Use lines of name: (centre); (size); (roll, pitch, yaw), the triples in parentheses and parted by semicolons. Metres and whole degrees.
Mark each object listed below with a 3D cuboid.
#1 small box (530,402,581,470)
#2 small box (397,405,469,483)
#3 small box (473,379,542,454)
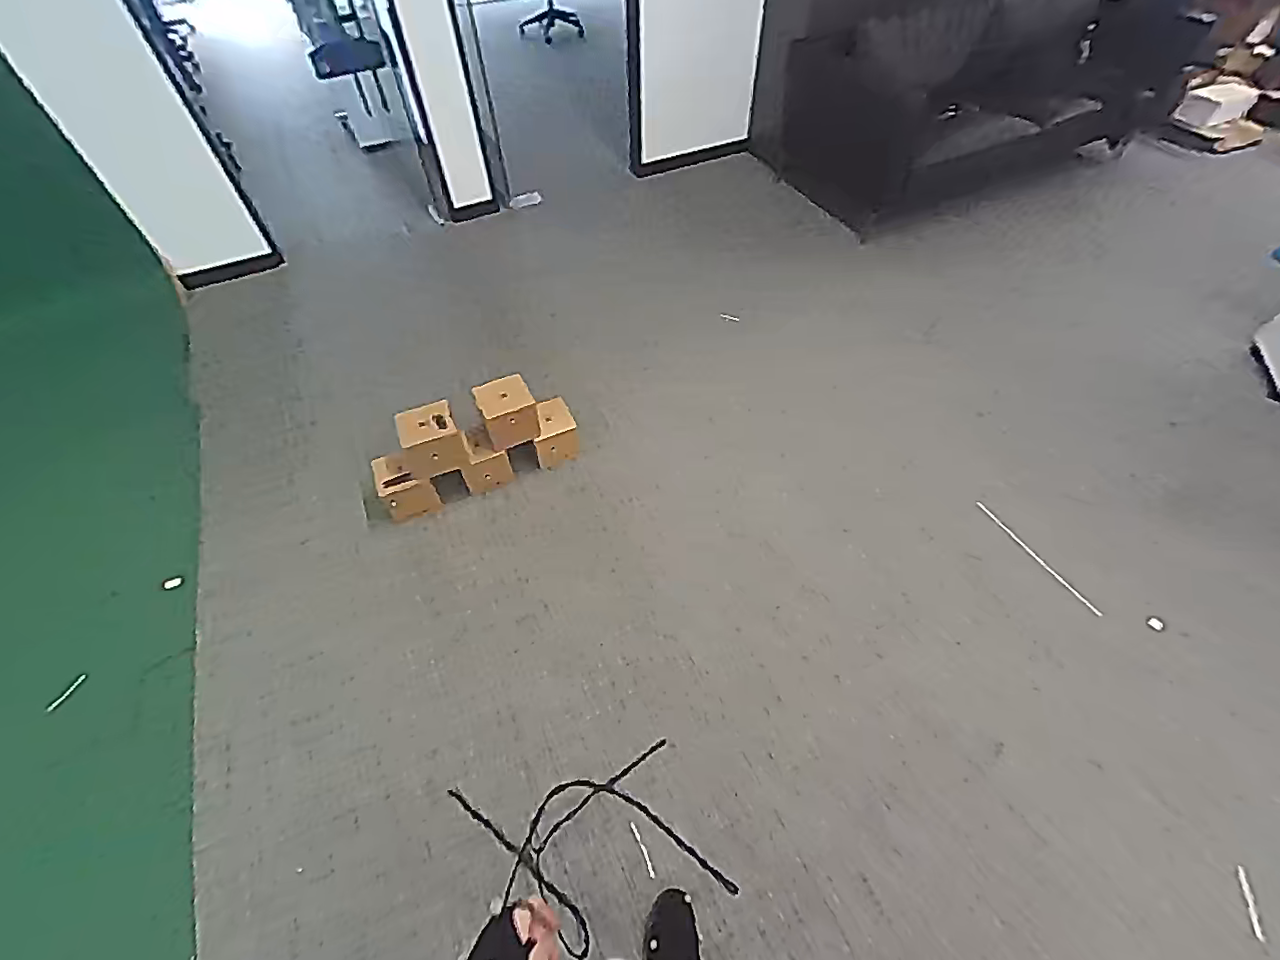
small box: (-0.332, -0.158, 2.044); (0.168, 0.176, 0.179); (-21, 55, -15)
small box: (-0.686, -0.118, 1.808); (0.179, 0.176, 0.168); (-20, 54, -13)
small box: (-0.458, -0.216, 1.883); (0.179, 0.176, 0.168); (-22, 56, -18)
